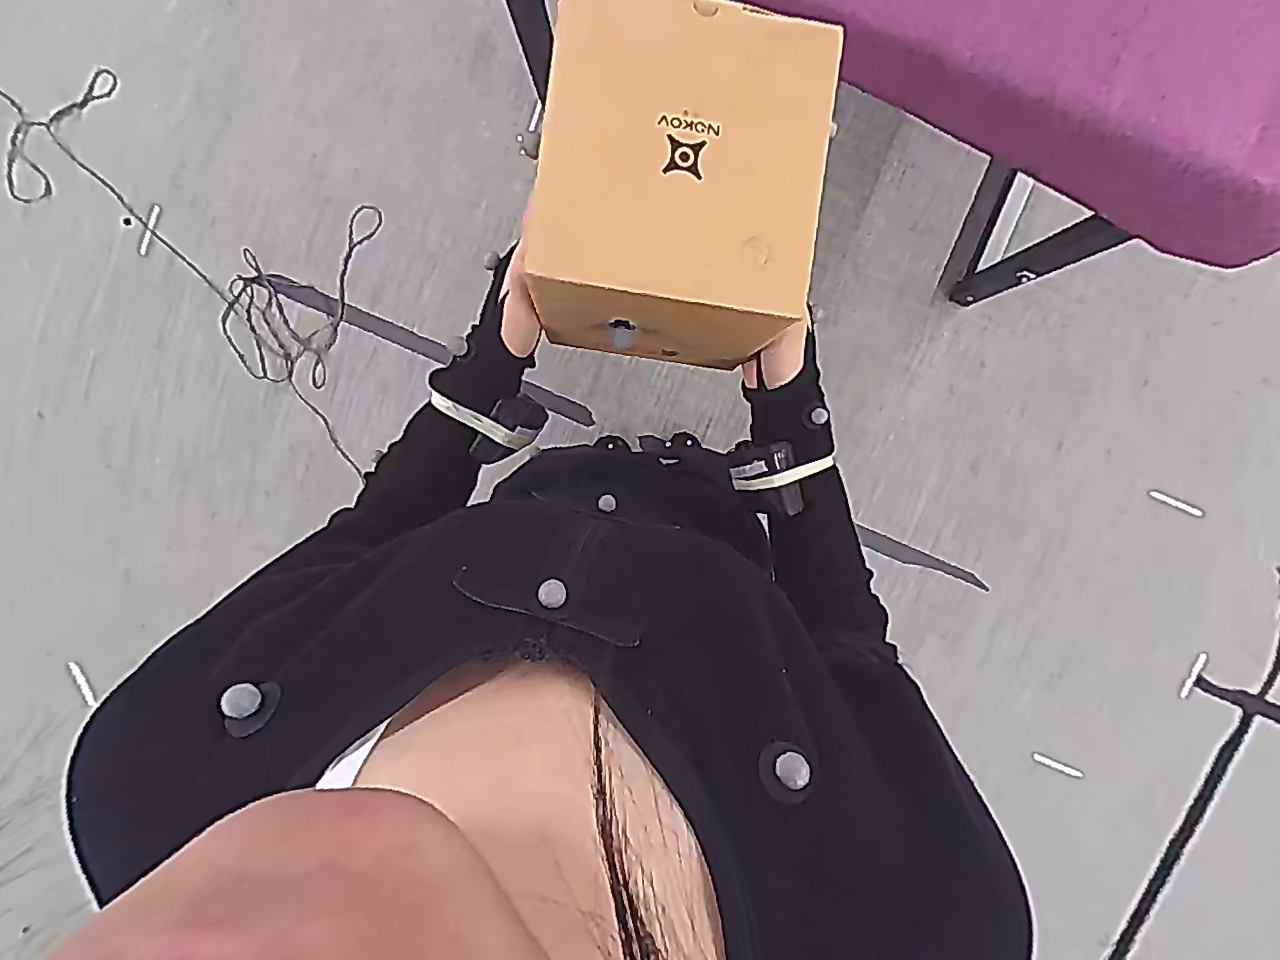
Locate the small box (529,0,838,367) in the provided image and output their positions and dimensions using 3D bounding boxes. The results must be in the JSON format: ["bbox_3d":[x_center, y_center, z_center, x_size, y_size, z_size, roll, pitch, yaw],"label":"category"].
[{"bbox_3d":[0.022,-0.191,0.397,0.168,0.176,0.179,7,89,-5],"label":"small box"}]
